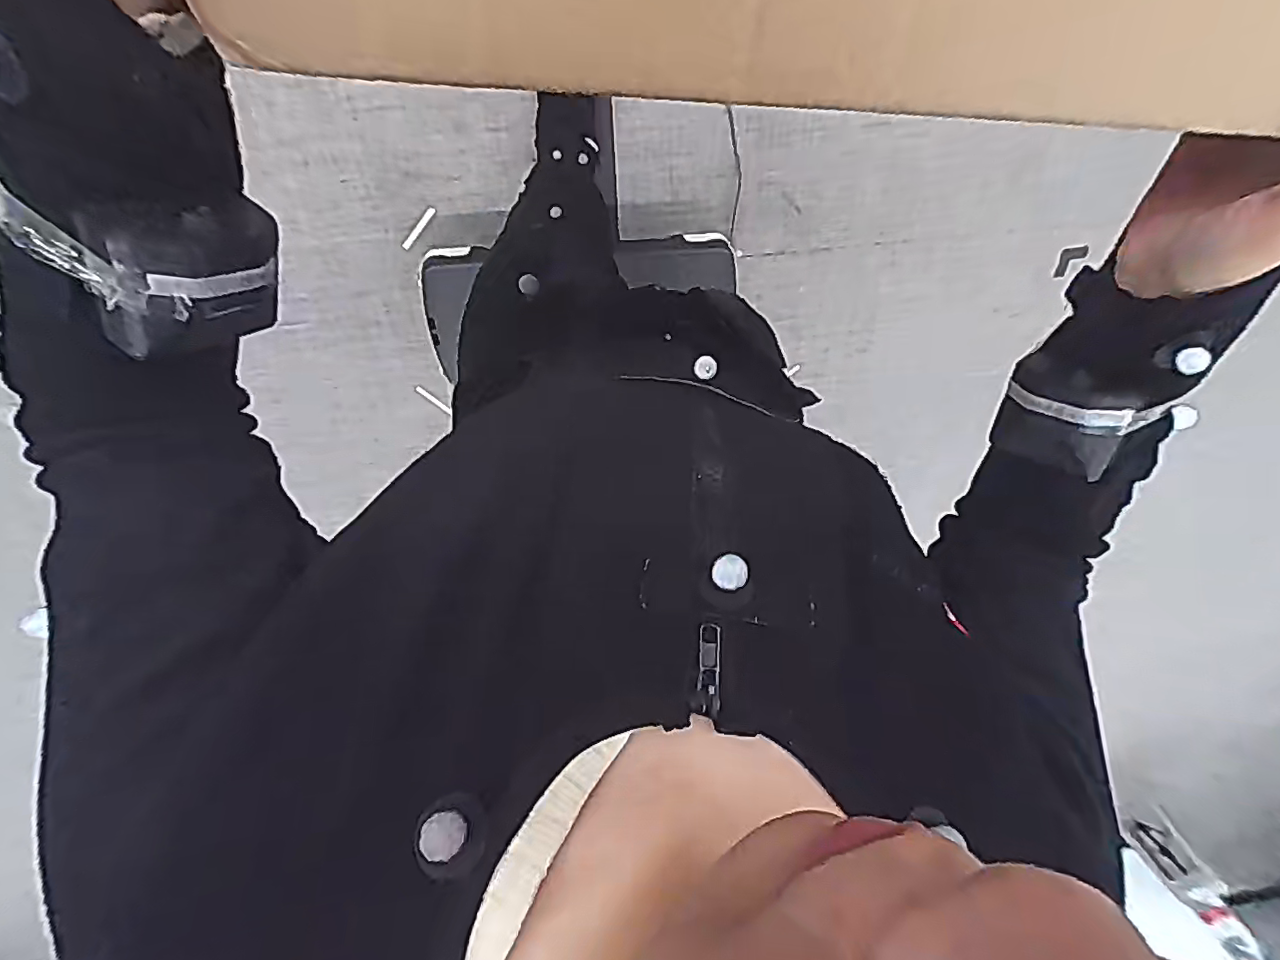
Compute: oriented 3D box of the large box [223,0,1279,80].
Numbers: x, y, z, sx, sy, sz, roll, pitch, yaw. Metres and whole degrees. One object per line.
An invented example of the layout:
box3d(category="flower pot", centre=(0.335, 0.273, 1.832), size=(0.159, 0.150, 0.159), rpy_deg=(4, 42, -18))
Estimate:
box3d(category="large box", centre=(0.072, -0.345, 0.138), size=(0.408, 0.320, 0.320), rpy_deg=(1, 147, -2))
